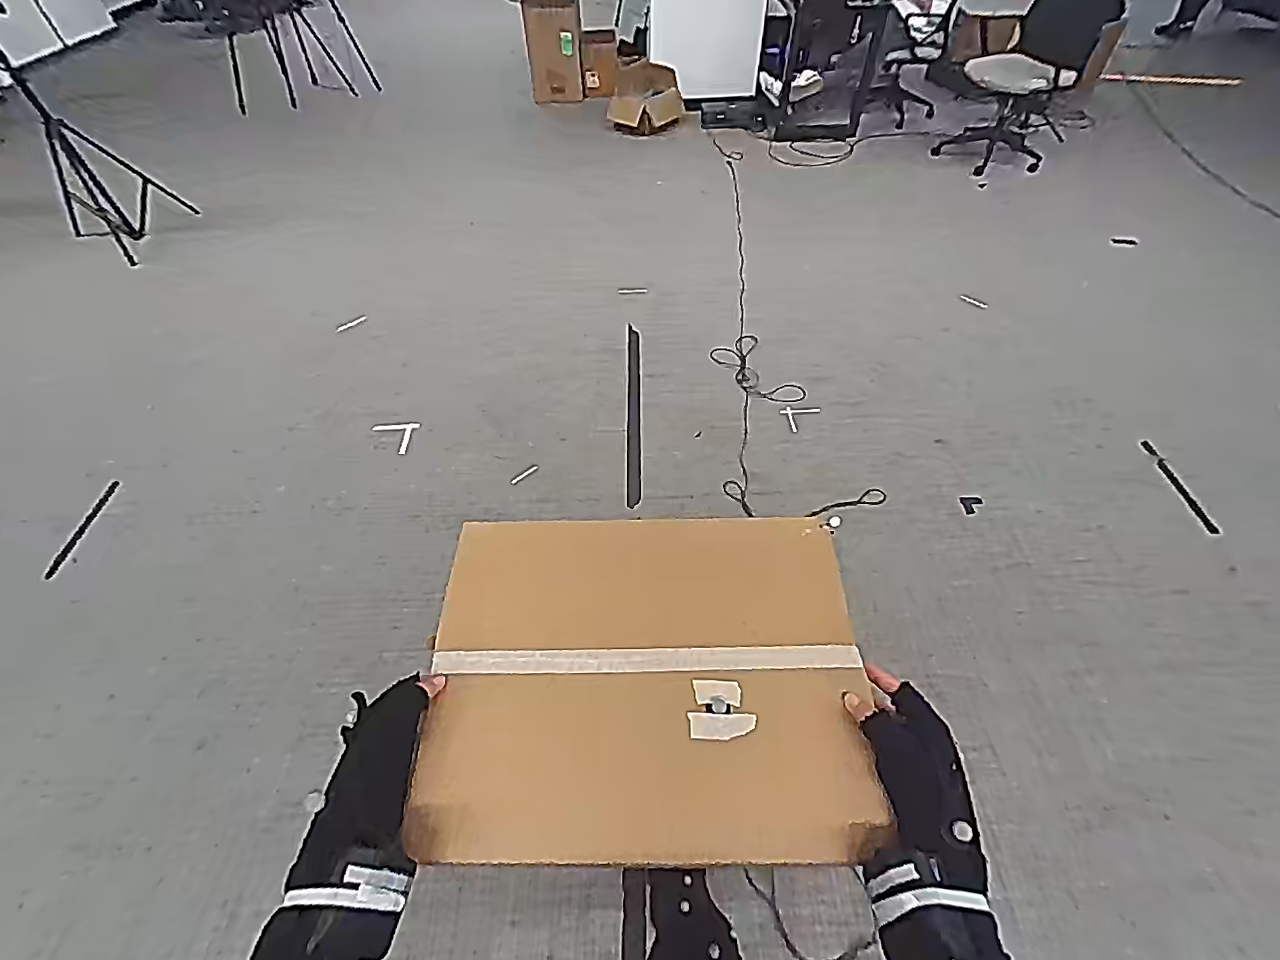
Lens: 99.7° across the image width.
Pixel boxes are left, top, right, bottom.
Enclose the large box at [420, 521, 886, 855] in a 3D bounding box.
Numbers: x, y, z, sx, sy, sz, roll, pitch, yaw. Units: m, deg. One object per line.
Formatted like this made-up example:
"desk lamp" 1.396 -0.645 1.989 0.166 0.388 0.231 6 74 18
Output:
"large box" 0.010 0.263 0.659 0.408 0.320 0.320 -1 55 1
